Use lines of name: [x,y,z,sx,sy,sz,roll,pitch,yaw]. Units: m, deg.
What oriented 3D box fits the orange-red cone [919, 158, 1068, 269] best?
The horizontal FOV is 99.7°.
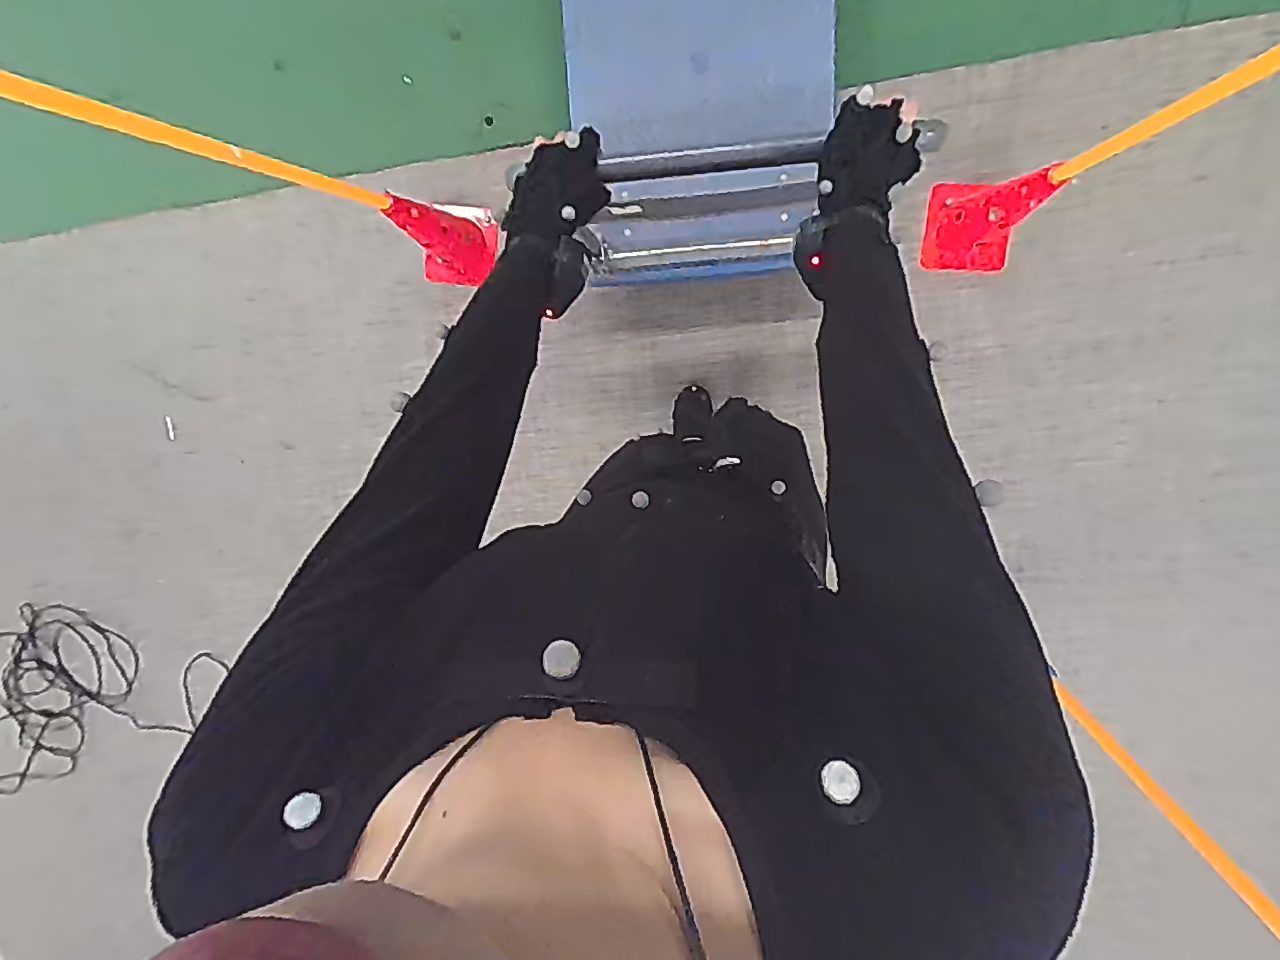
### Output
orange-red cone: [0.772,-0.588,1.142,0.198,0.360,0.199,6,101,6]
